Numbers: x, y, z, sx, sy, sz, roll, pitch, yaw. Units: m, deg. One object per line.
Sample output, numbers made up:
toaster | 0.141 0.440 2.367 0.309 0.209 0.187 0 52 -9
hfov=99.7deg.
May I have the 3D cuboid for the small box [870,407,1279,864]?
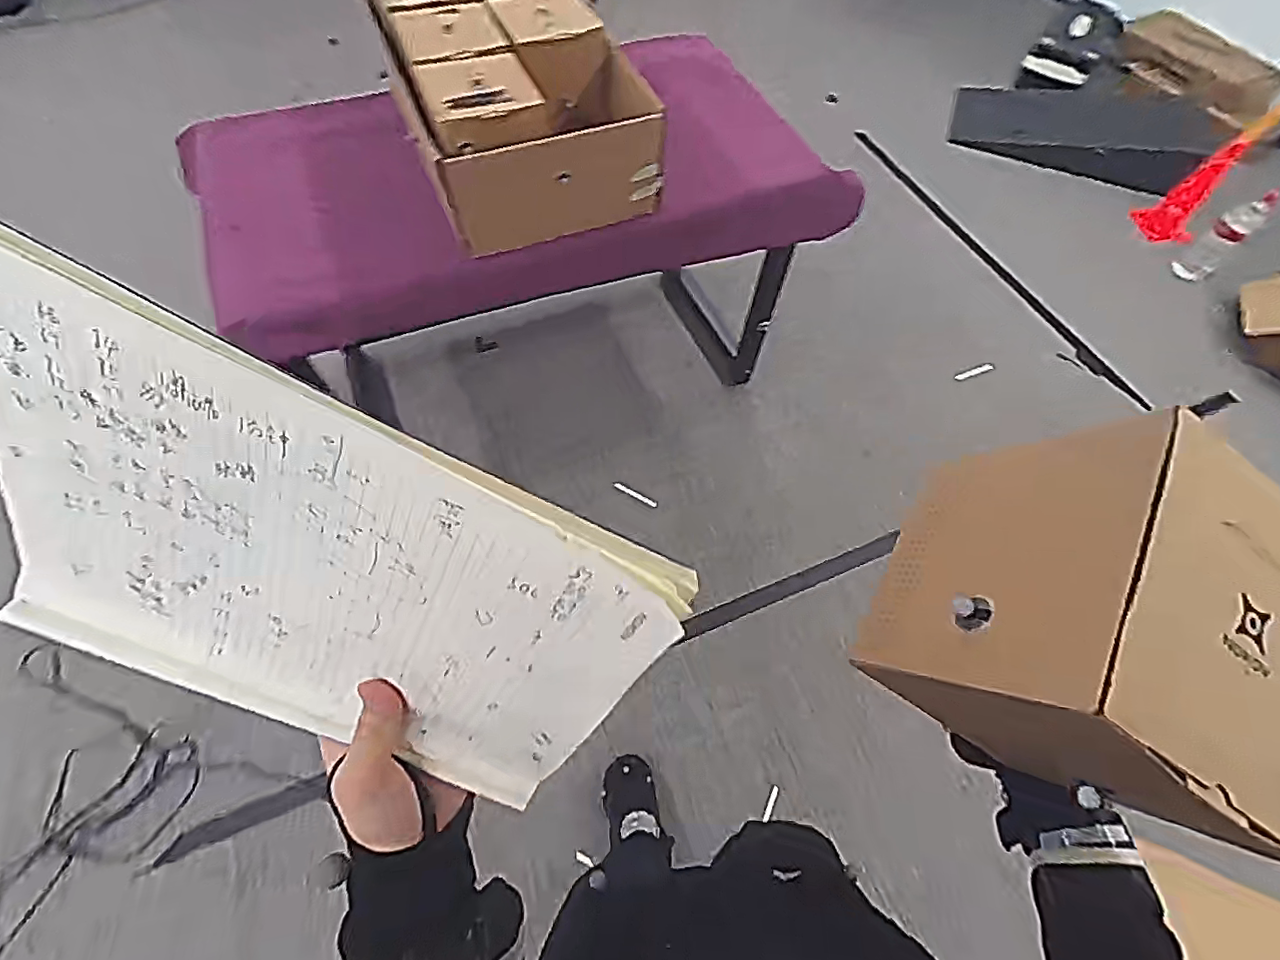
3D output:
small box | 0.280 0.089 0.340 0.168 0.176 0.179 34 72 -10
